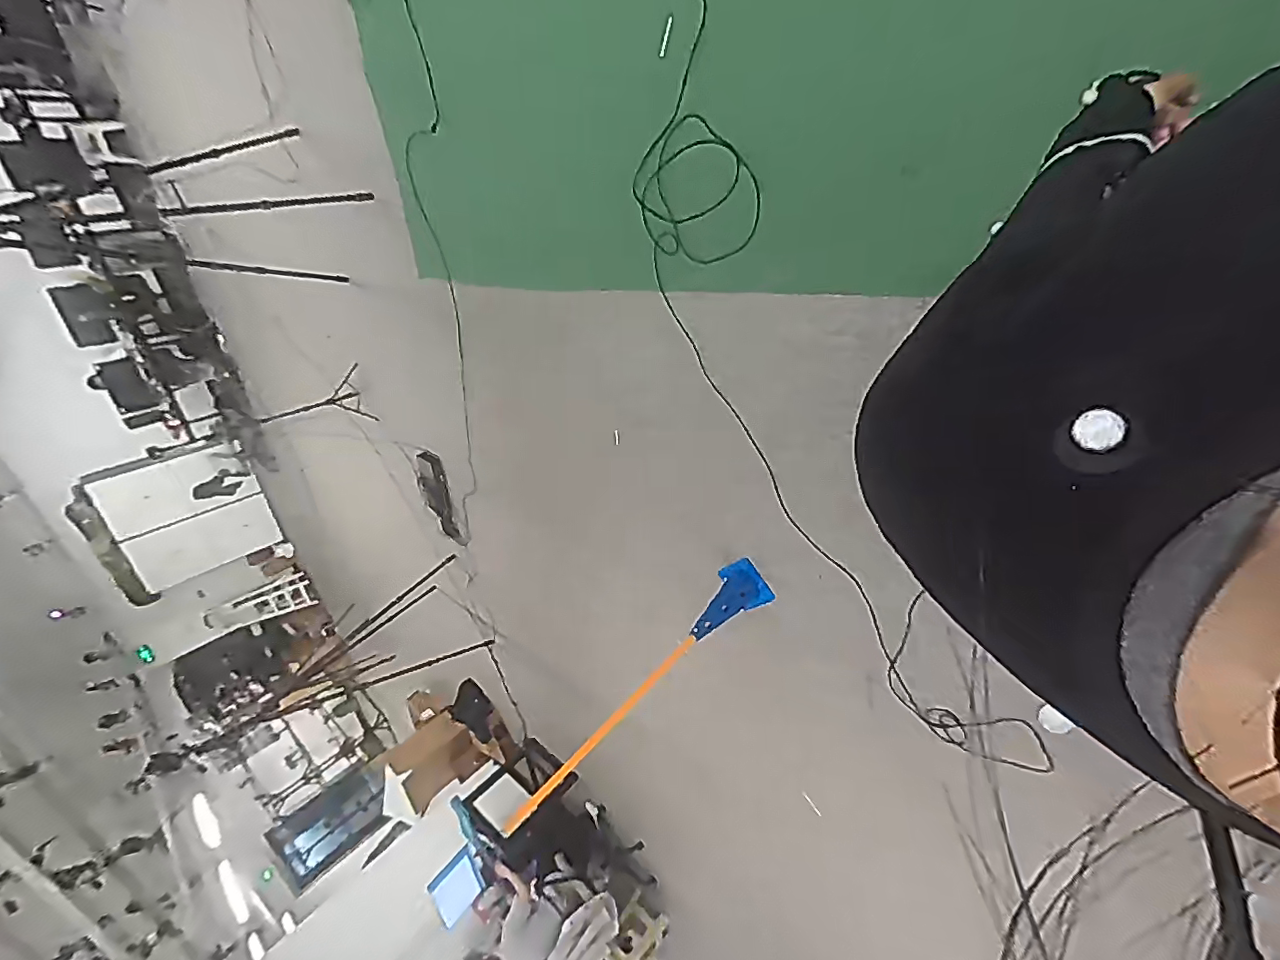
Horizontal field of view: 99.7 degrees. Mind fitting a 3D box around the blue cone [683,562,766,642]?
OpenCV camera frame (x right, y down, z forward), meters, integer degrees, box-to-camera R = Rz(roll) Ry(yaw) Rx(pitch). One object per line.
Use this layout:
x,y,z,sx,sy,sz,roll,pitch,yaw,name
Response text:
0.296,0.501,2.068,0.192,0.380,0.193,53,142,6,blue cone
